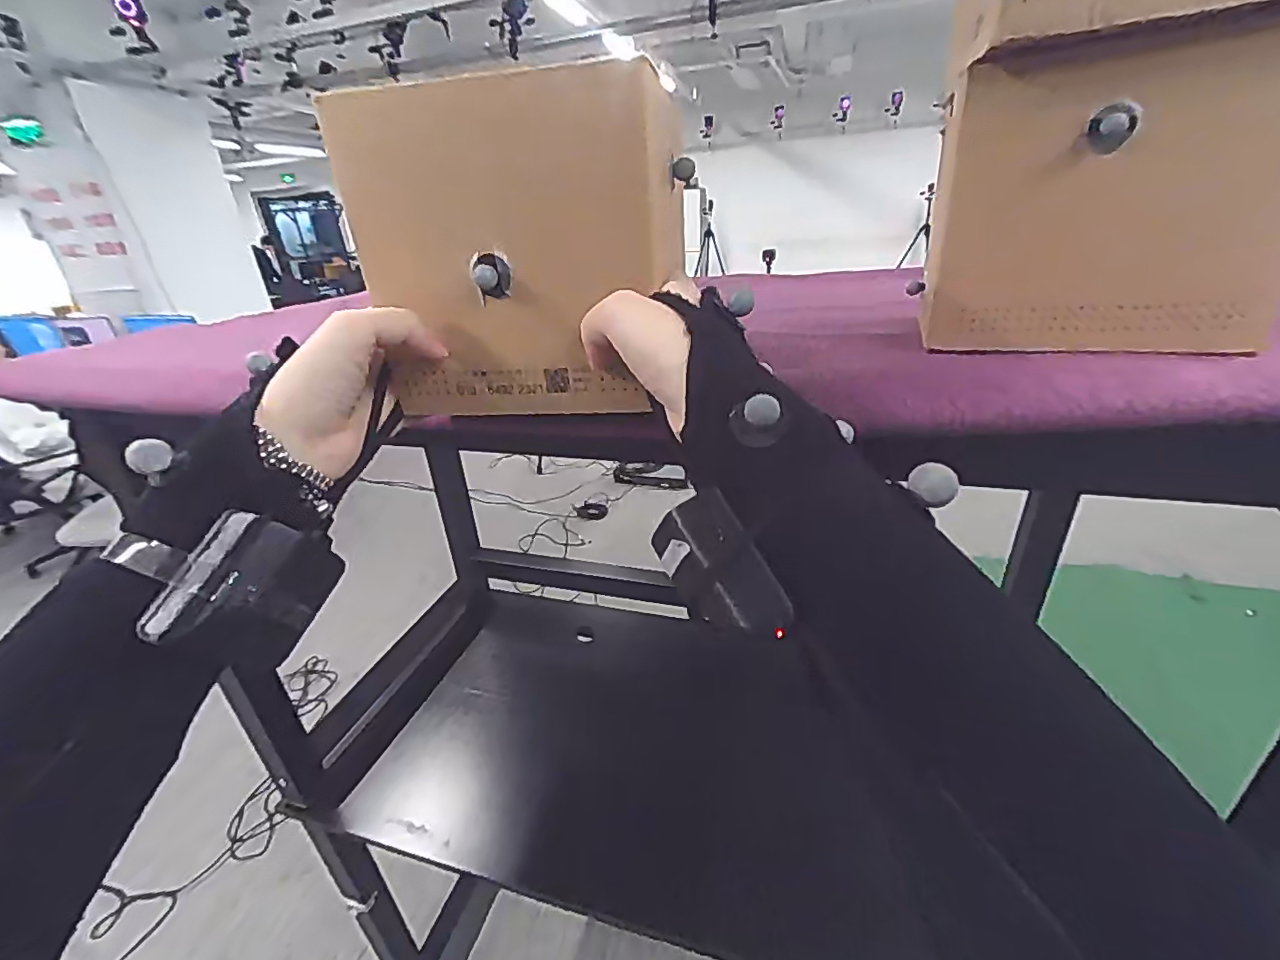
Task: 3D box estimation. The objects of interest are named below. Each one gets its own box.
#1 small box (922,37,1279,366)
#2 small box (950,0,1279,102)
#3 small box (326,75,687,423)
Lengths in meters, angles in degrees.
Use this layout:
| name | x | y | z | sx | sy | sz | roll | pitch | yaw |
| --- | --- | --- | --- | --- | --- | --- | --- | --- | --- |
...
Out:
| name | x | y | z | sx | sy | sz | roll | pitch | yaw |
| --- | --- | --- | --- | --- | --- | --- | --- | --- | --- |
| small box | 0.305 | -0.179 | 0.381 | 0.179 | 0.176 | 0.168 | 7 | 27 | 22 |
| small box | 0.288 | -0.321 | 0.302 | 0.179 | 0.176 | 0.168 | 5 | 26 | 19 |
| small box | -0.057 | -0.143 | 0.361 | 0.168 | 0.176 | 0.179 | 1 | 28 | 9 |
